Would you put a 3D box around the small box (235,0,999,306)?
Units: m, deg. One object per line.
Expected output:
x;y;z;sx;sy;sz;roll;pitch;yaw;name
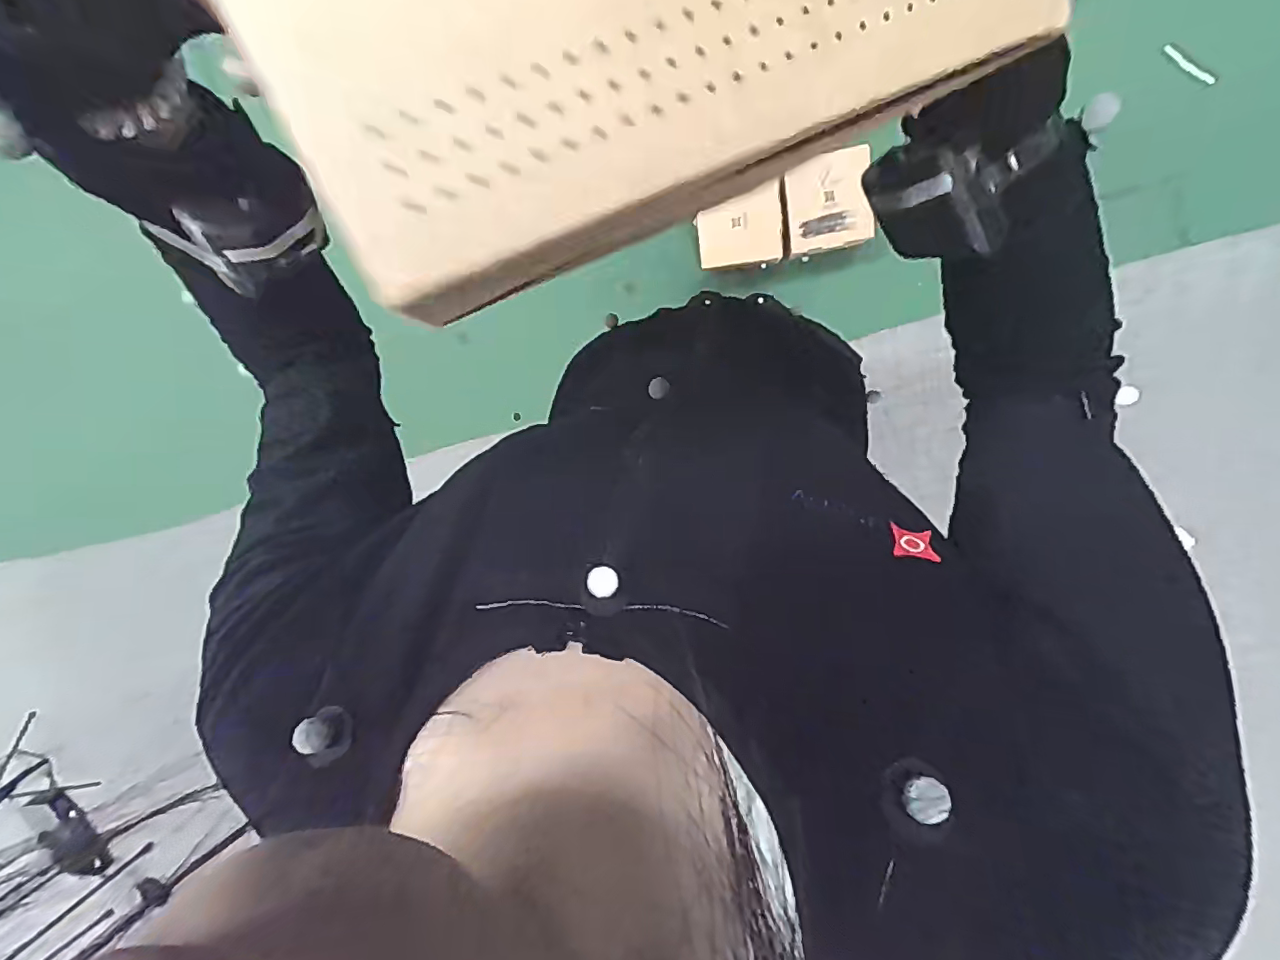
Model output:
-0.028;-0.164;0.166;0.179;0.168;0.176;-29;113;-9;small box
